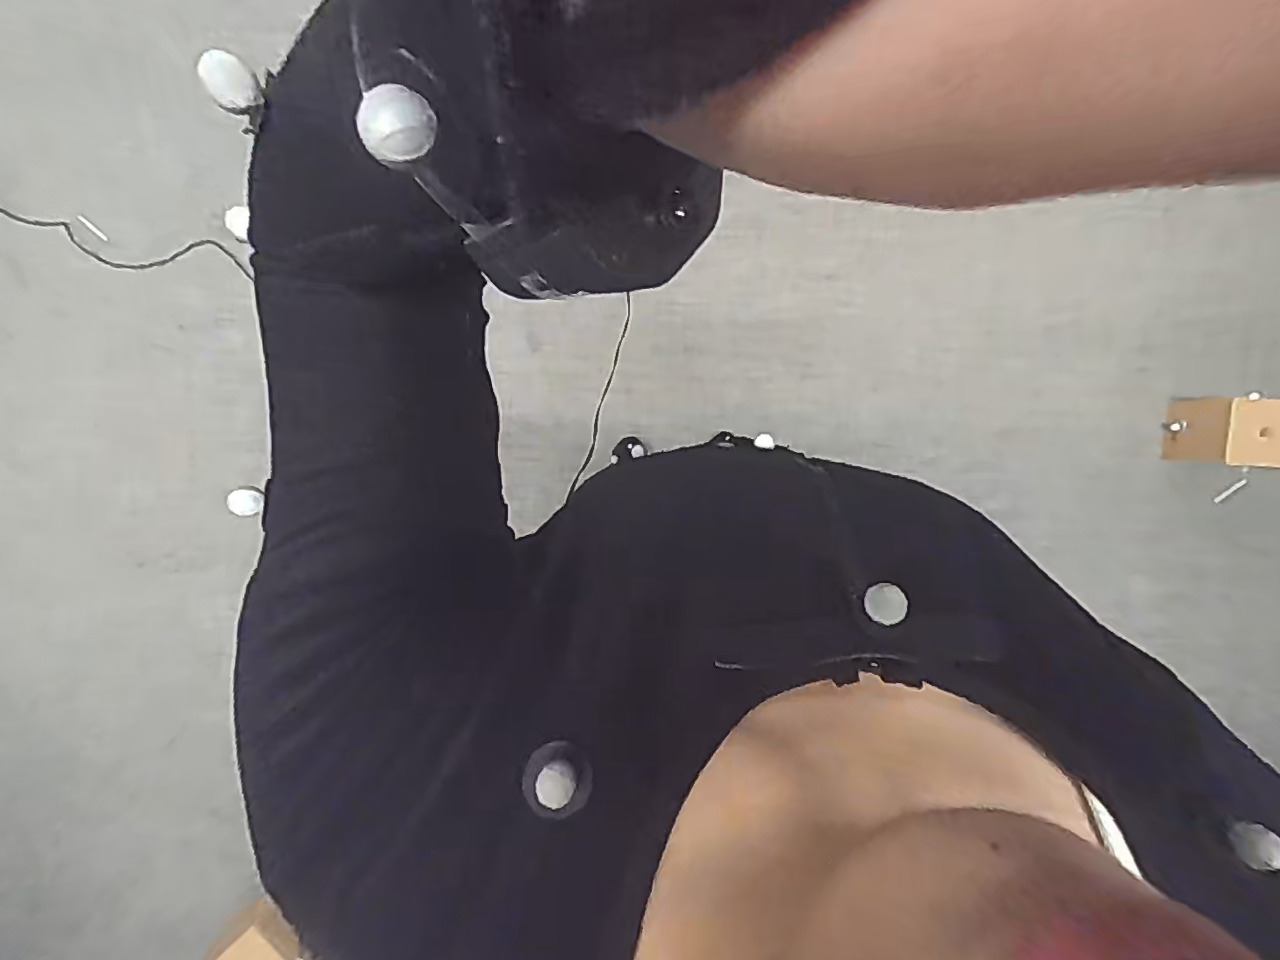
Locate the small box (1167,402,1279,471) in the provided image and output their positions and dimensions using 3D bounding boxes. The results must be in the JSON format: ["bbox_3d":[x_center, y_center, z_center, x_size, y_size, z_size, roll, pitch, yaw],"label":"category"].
[{"bbox_3d":[1.524,-0.111,1.384,0.179,0.176,0.168,1,93,2],"label":"small box"}]
